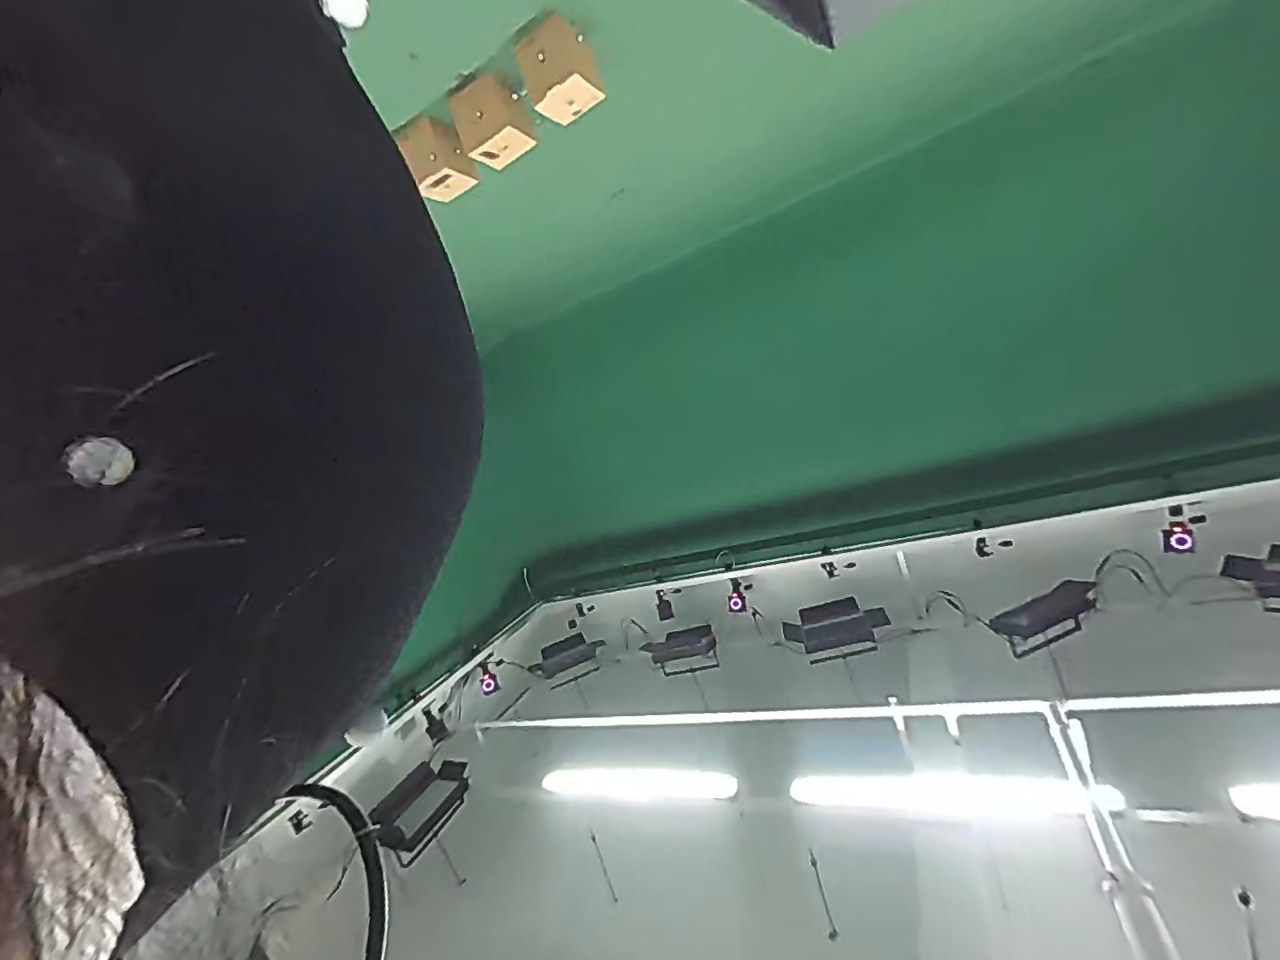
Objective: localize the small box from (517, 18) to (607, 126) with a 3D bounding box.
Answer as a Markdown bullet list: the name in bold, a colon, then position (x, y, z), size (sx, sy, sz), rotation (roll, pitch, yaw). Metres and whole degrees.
- **small box**: position (-0.229, -1.189, 1.579), size (0.168, 0.176, 0.179), rotation (-15, -173, 29)
